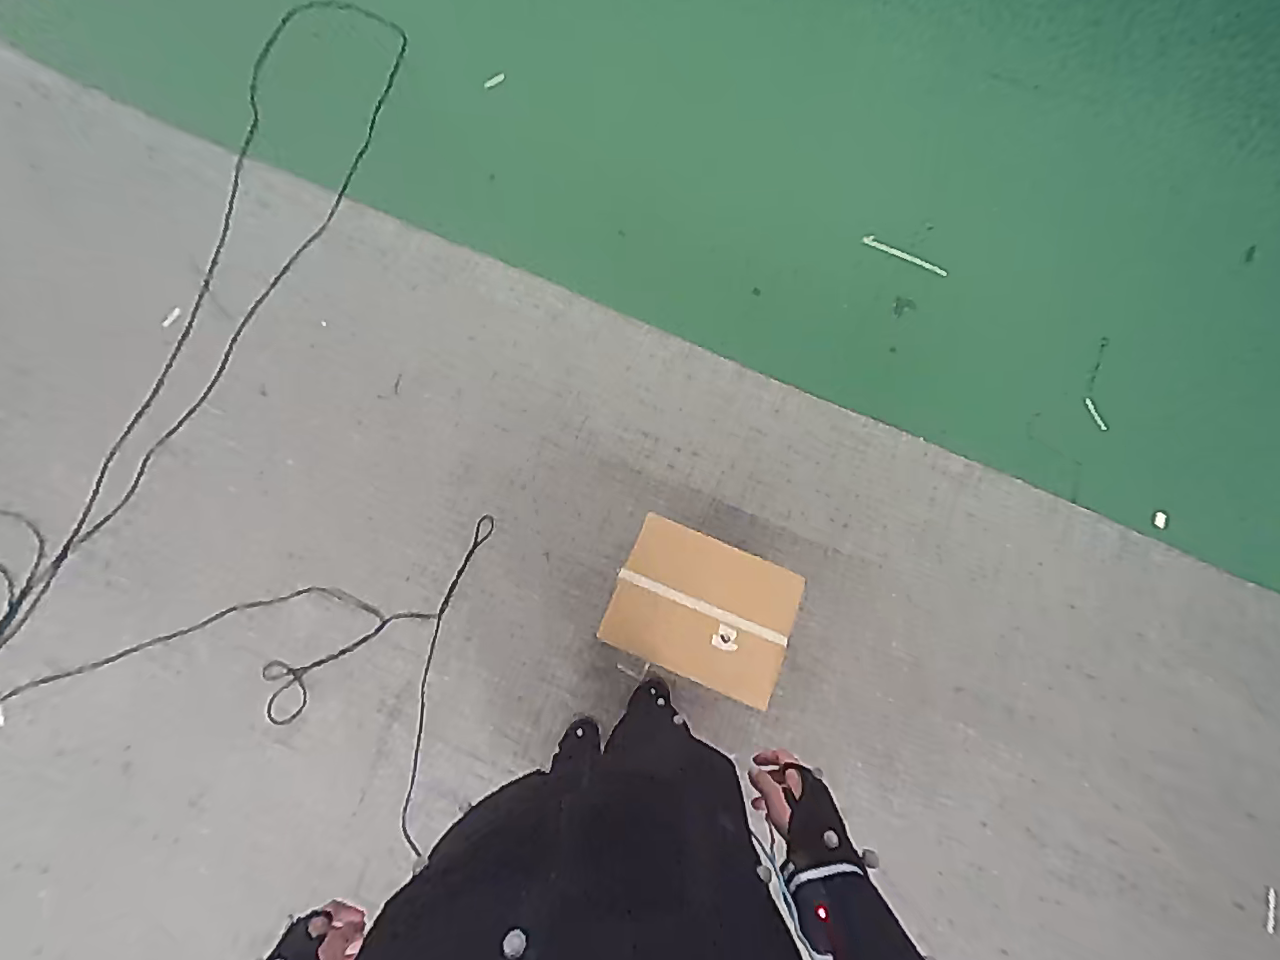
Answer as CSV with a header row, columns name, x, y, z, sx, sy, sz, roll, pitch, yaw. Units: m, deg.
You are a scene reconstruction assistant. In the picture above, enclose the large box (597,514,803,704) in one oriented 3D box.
name,x,y,z,sx,sy,sz,roll,pitch,yaw
large box,0.132,0.325,1.370,0.408,0.320,0.320,23,74,2
